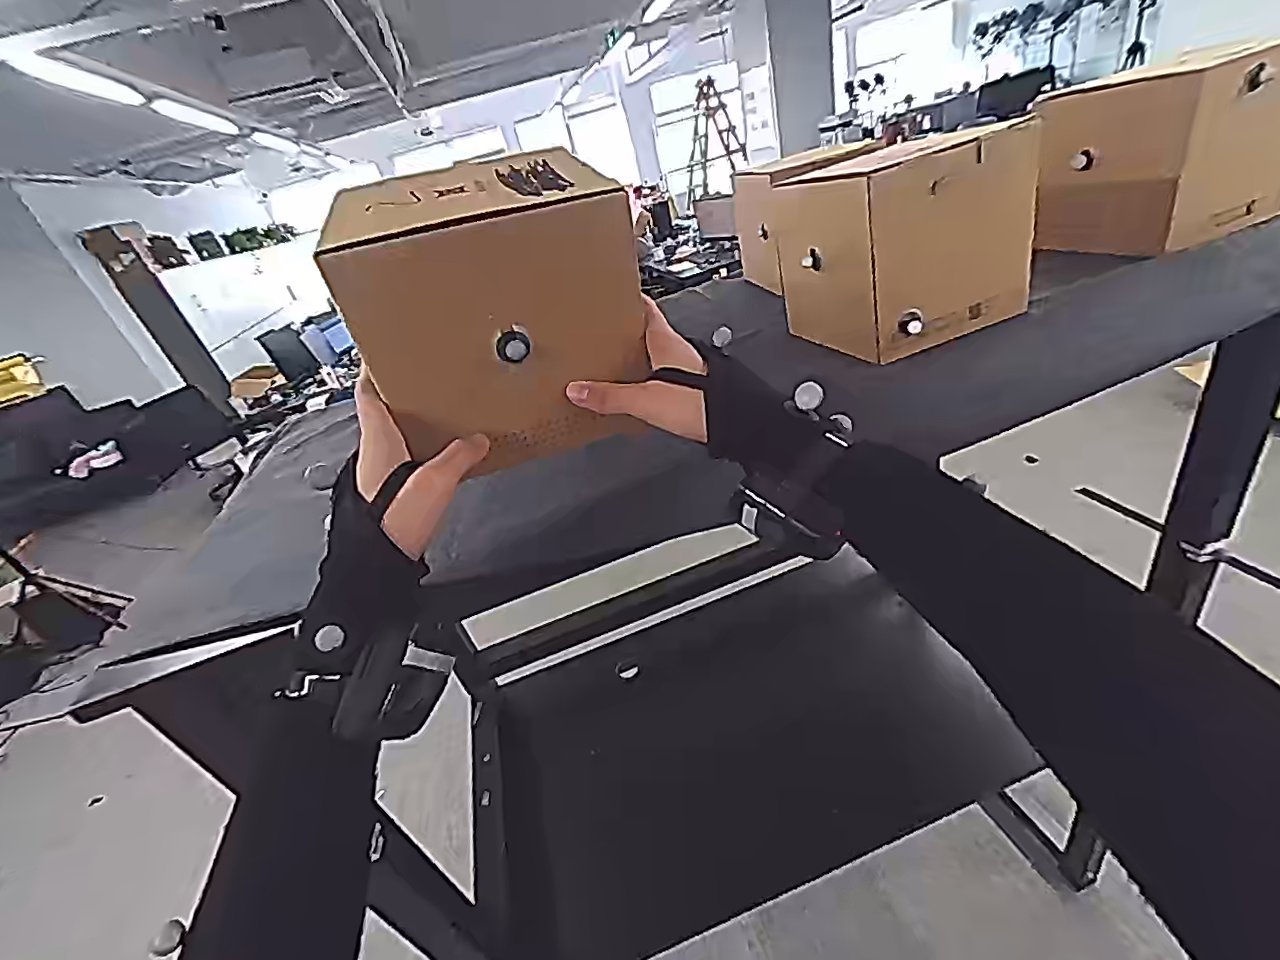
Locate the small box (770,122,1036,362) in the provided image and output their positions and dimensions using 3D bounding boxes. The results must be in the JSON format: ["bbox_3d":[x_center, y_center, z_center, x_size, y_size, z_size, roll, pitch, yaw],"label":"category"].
[{"bbox_3d":[0.257,-0.234,0.553,0.168,0.176,0.179,-20,28,-6],"label":"small box"}]

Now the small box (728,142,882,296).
[{"bbox_3d":[0.250,-0.392,0.824,0.168,0.176,0.179,-17,30,-3],"label":"small box"}]

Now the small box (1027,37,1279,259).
[{"bbox_3d":[0.572,-0.356,0.600,0.168,0.176,0.179,-21,30,-6],"label":"small box"}]
